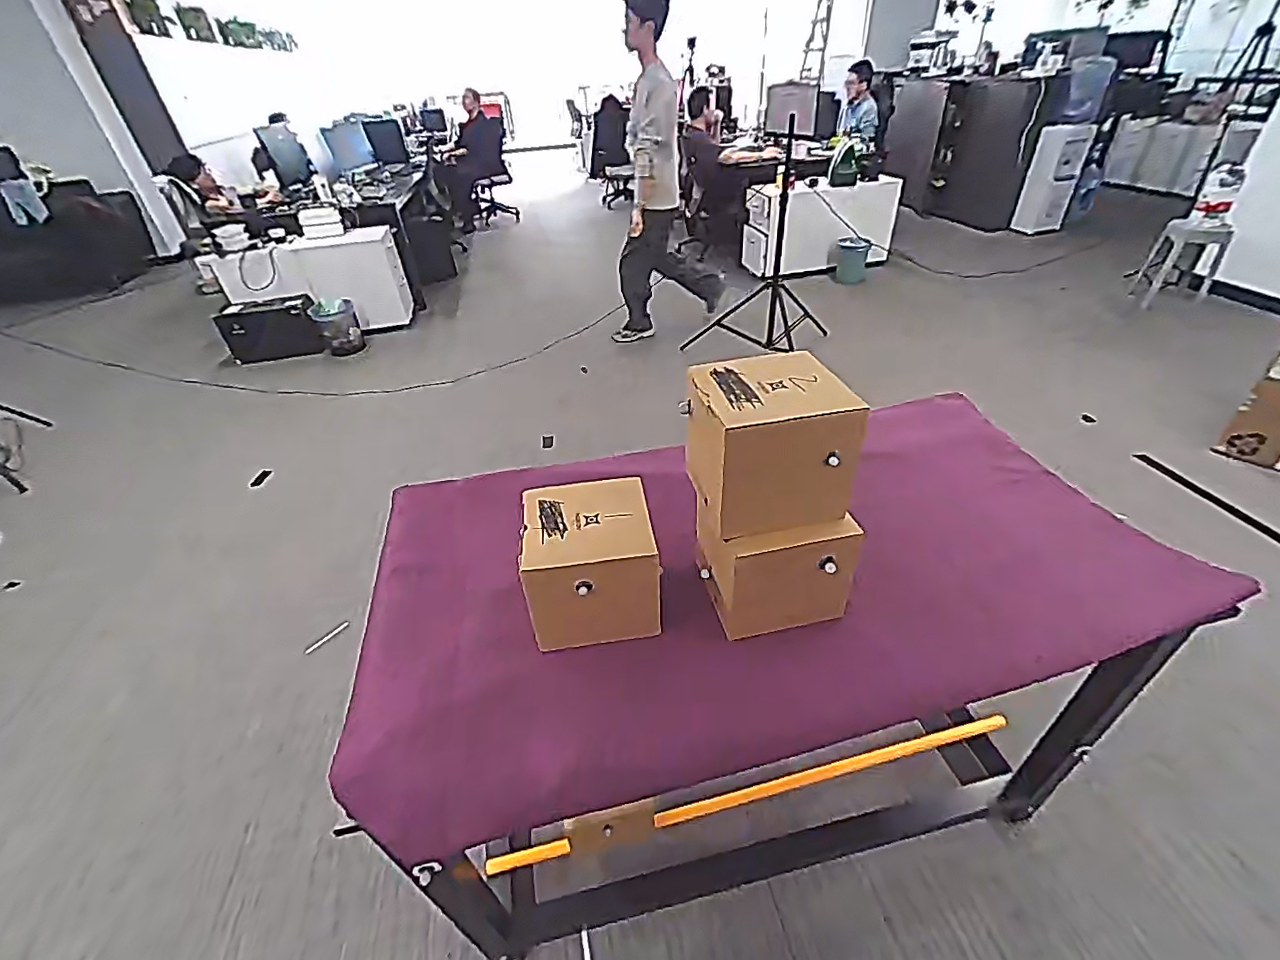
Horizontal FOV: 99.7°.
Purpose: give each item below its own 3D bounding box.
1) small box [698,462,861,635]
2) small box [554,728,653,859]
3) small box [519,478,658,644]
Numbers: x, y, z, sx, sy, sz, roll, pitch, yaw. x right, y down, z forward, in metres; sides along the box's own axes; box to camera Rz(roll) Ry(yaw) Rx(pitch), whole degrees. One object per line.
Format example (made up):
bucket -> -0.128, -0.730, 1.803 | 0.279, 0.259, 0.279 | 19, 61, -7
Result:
small box -> 0.188, 0.099, 0.788 | 0.179, 0.176, 0.168 | -10, 36, -8
small box -> -0.074, 0.648, 1.117 | 0.179, 0.176, 0.168 | -11, 40, -9
small box -> -0.071, 0.119, 0.784 | 0.179, 0.176, 0.168 | -6, 37, -5
